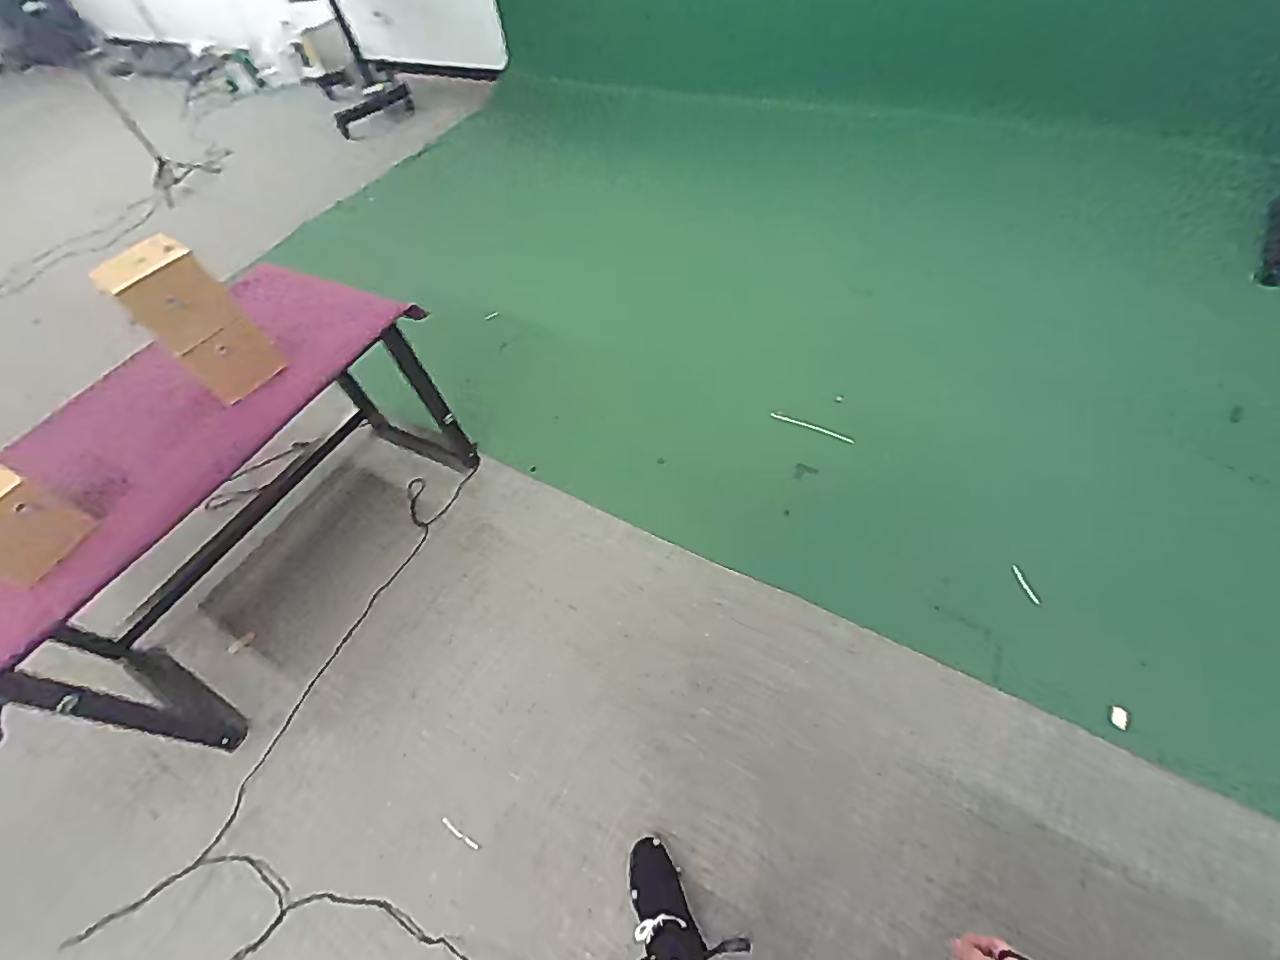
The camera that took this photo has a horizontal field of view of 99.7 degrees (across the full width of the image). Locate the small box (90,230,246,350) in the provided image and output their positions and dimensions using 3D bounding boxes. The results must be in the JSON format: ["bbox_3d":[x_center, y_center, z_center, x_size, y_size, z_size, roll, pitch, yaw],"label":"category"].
[{"bbox_3d":[-1.053,-0.424,1.218,0.168,0.176,0.179,30,66,25],"label":"small box"}]

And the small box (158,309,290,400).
[{"bbox_3d":[-1.033,-0.332,1.352,0.168,0.176,0.179,32,65,27],"label":"small box"}]

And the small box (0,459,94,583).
[{"bbox_3d":[-1.288,0.080,1.102,0.168,0.176,0.179,17,60,20],"label":"small box"}]
